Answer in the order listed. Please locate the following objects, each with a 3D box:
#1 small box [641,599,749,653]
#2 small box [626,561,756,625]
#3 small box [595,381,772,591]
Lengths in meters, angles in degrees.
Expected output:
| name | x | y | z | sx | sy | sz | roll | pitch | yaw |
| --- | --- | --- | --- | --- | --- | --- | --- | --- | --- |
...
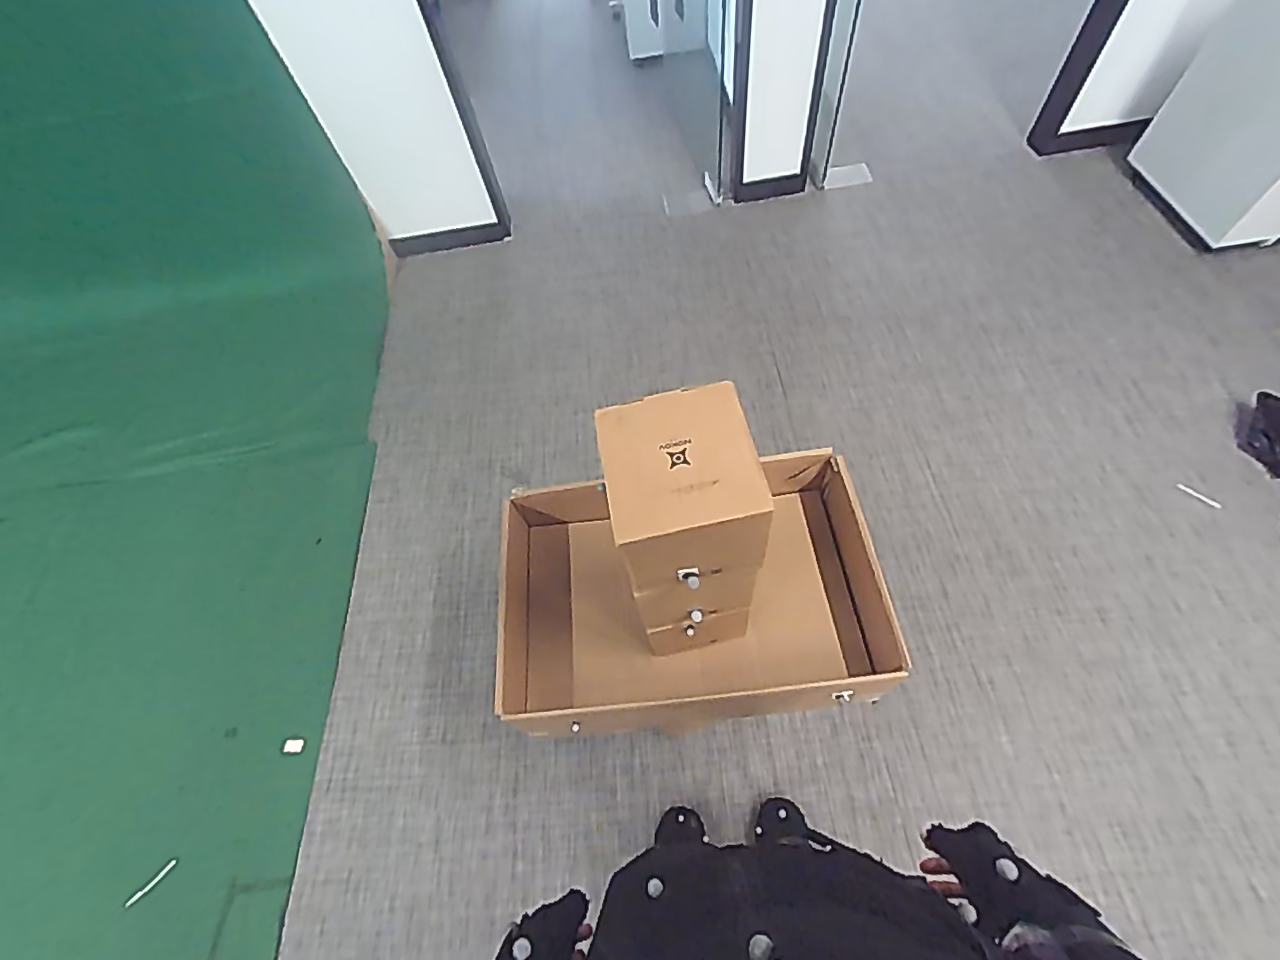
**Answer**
| name | x | y | z | sx | sy | sz | roll | pitch | yaw |
| --- | --- | --- | --- | --- | --- | --- | --- | --- | --- |
| small box | 0.081 | 0.178 | 0.933 | 0.168 | 0.176 | 0.179 | -14 | 59 | 1 |
| small box | 0.063 | 0.094 | 0.793 | 0.168 | 0.176 | 0.179 | -12 | 60 | 1 |
| small box | 0.050 | 0.013 | 0.654 | 0.168 | 0.176 | 0.179 | -13 | 60 | 2 |
